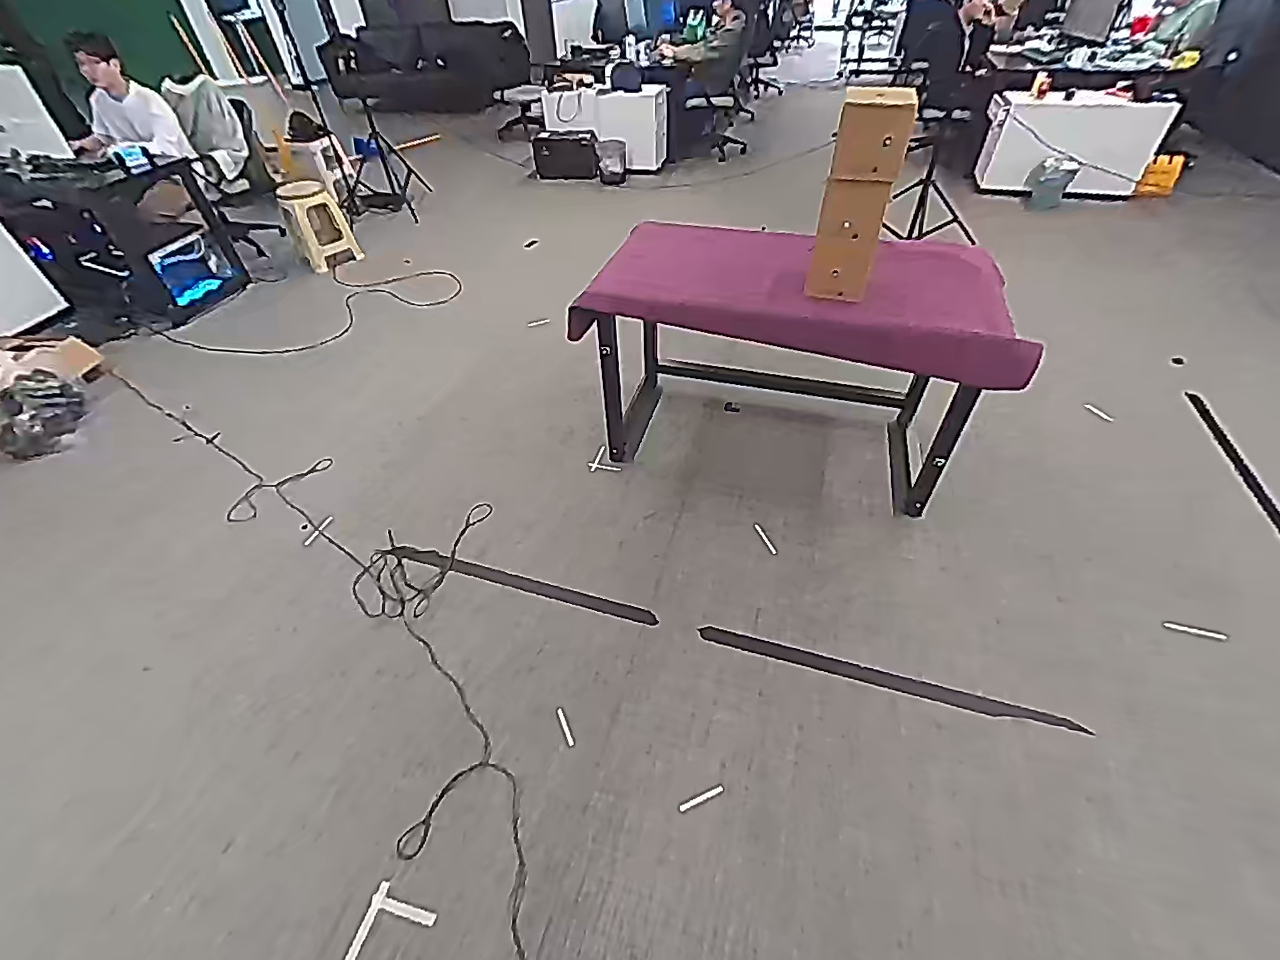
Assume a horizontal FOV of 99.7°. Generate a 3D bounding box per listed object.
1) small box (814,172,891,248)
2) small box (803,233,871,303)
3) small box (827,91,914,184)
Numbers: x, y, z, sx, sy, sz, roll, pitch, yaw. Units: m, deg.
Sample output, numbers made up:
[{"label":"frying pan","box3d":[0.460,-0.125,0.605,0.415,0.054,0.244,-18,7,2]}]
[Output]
[{"label":"small box","box3d":[0.587,-0.765,1.495,0.168,0.176,0.179,13,47,15]},{"label":"small box","box3d":[0.589,-0.646,1.609,0.168,0.176,0.179,13,47,15]},{"label":"small box","box3d":[0.578,-0.864,1.366,0.168,0.176,0.179,11,46,12]}]
